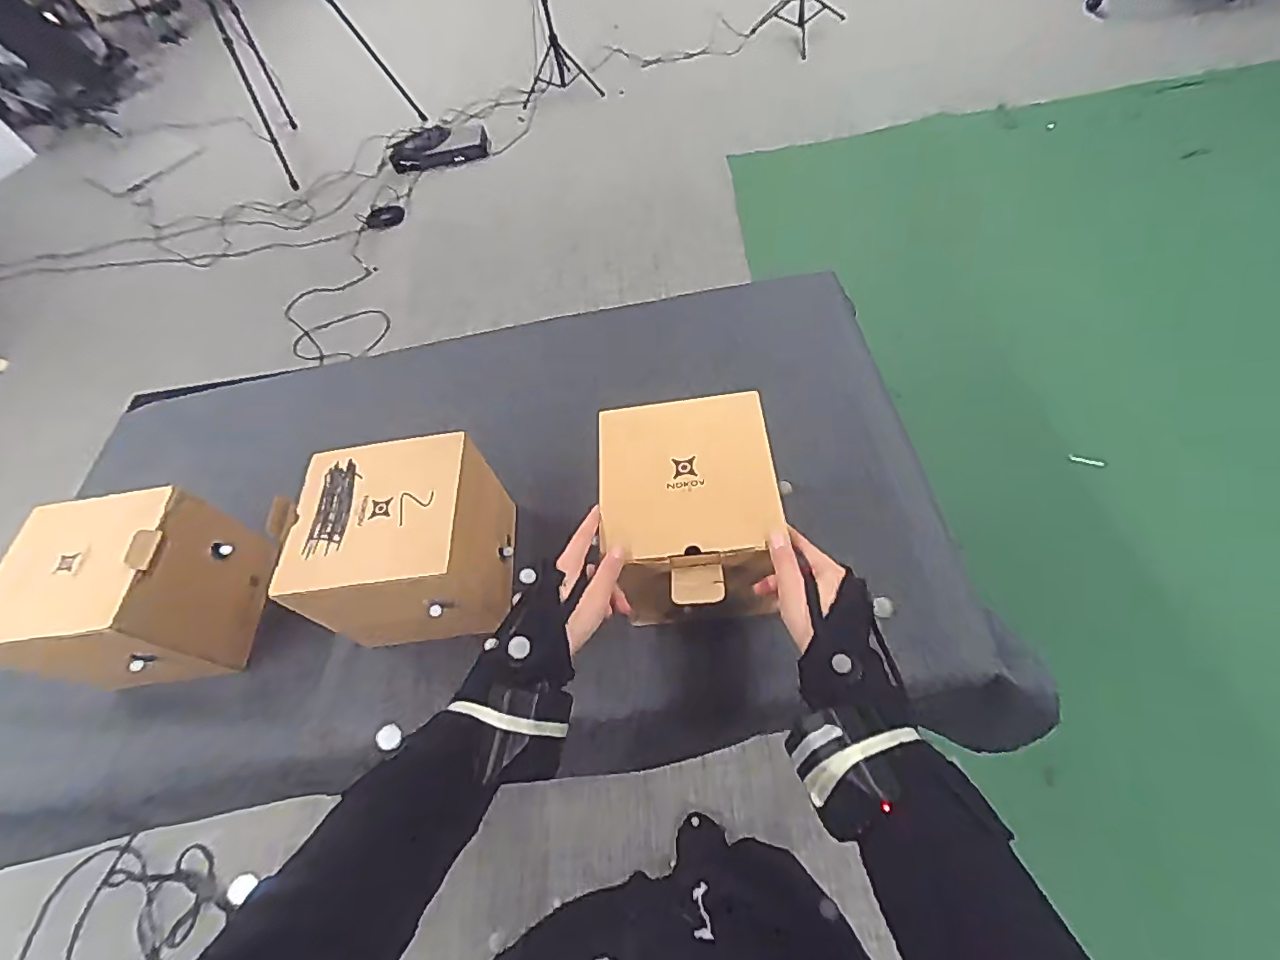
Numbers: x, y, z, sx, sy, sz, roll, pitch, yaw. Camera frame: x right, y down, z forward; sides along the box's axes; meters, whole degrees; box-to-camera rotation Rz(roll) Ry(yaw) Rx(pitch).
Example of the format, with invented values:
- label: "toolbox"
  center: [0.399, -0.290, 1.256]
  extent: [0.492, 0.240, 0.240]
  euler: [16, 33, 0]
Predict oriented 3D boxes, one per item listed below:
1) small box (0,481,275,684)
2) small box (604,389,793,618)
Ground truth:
- label: "small box"
  center: [-0.569, 0.124, 0.620]
  extent: [0.179, 0.176, 0.168]
  euler: [-10, 56, 5]
- label: "small box"
  center: [0.056, 0.031, 0.575]
  extent: [0.168, 0.176, 0.179]
  euler: [-7, 58, 5]
